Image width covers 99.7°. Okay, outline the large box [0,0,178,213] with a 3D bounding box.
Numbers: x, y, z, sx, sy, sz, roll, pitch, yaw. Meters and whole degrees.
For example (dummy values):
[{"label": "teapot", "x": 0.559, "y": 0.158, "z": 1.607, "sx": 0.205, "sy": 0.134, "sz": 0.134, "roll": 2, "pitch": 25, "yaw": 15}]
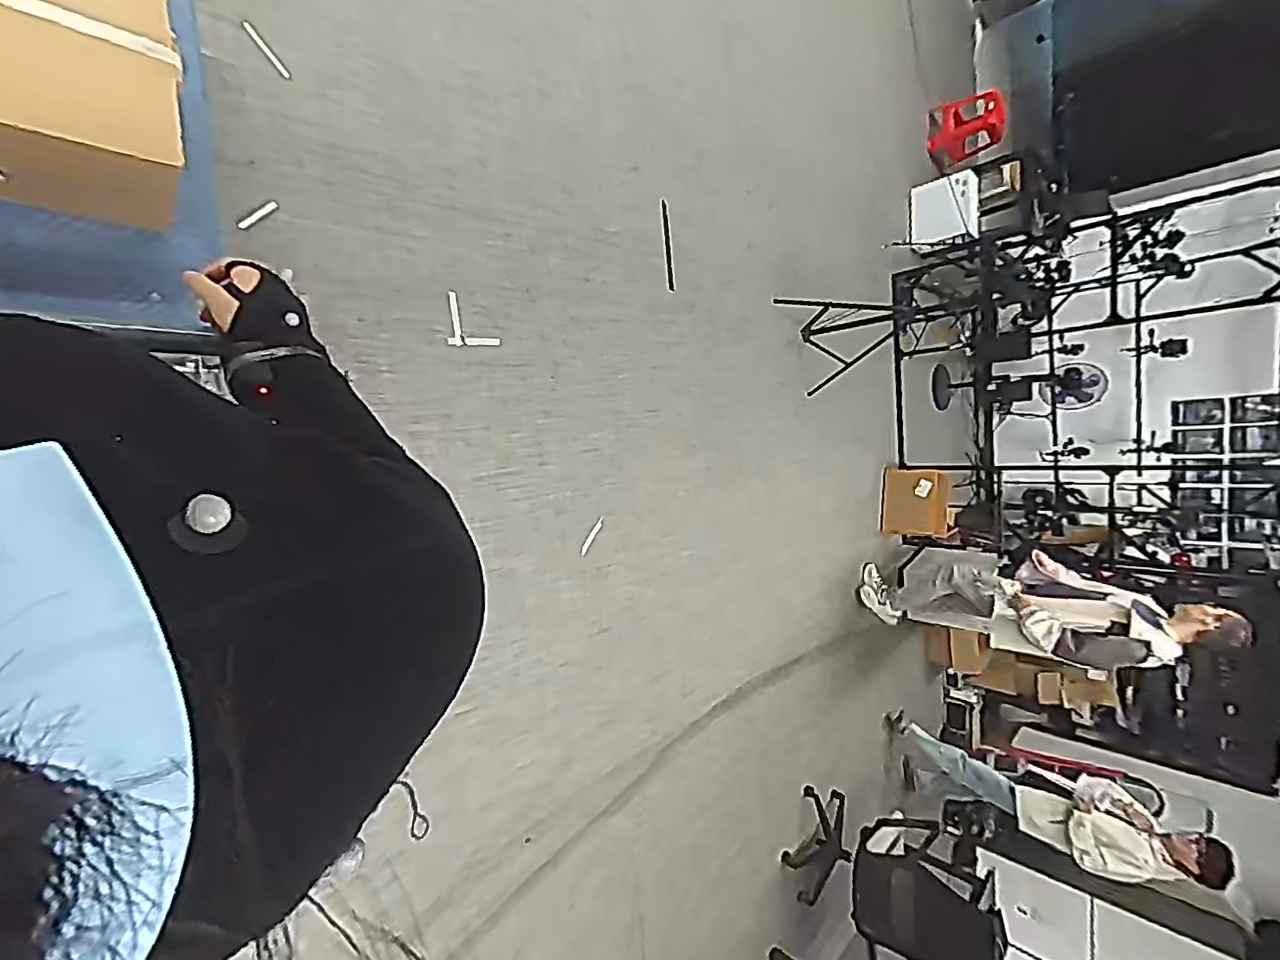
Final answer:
[{"label": "large box", "x": -0.954, "y": -0.629, "z": 0.777, "sx": 0.408, "sy": 0.320, "sz": 0.320, "roll": -7, "pitch": 95, "yaw": -44}]
